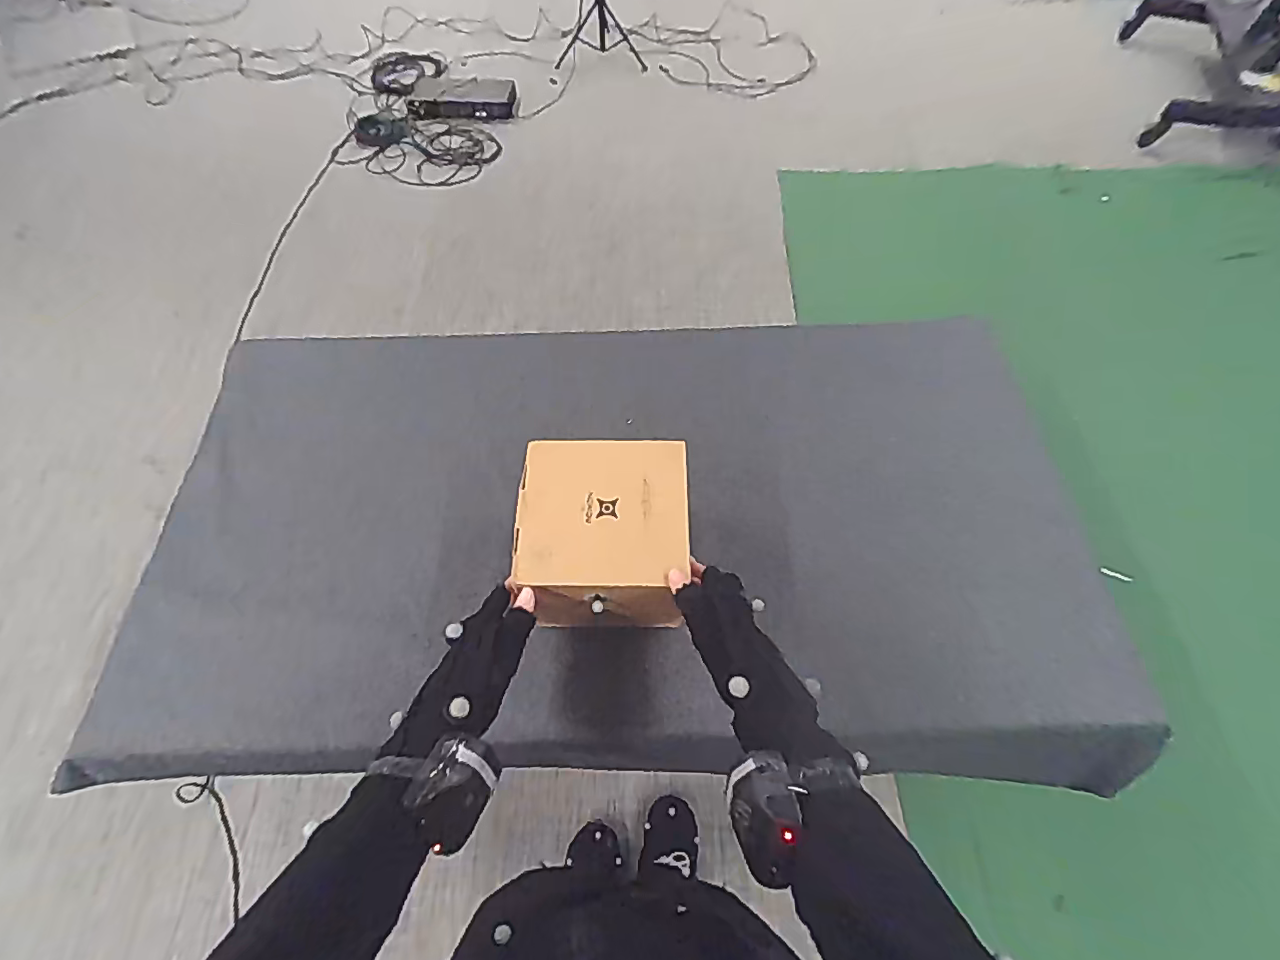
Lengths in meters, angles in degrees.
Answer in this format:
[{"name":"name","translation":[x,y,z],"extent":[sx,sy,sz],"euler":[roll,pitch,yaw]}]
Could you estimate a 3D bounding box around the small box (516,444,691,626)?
[{"name":"small box","translation":[-0.035,0.072,0.636],"extent":[0.179,0.176,0.168],"euler":[0,62,-1]}]
